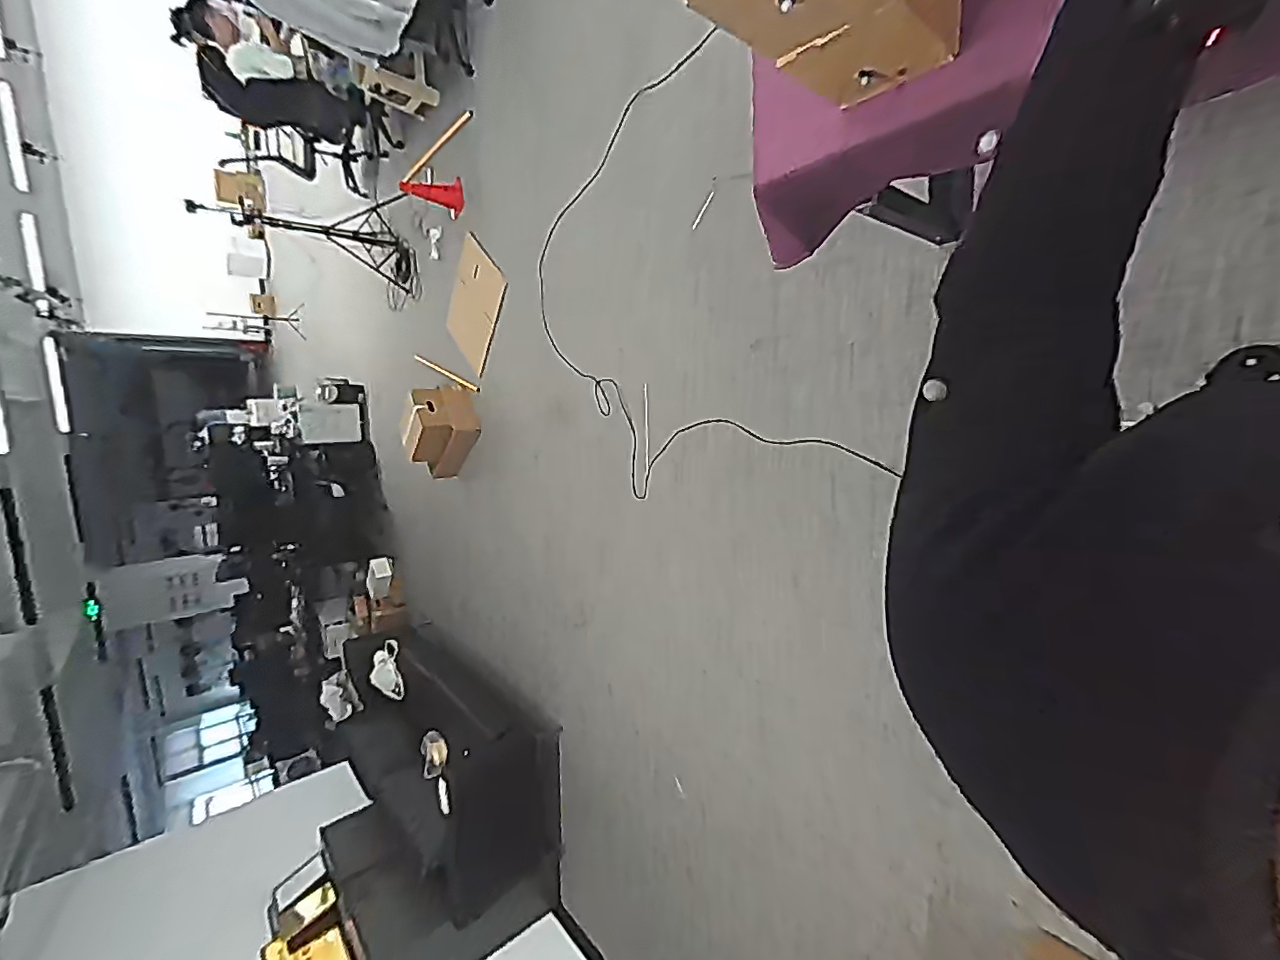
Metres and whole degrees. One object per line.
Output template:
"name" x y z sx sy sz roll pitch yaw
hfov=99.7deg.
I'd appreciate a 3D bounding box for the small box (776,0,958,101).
"small box" 0.295 -0.637 0.695 0.168 0.176 0.179 9 103 49
